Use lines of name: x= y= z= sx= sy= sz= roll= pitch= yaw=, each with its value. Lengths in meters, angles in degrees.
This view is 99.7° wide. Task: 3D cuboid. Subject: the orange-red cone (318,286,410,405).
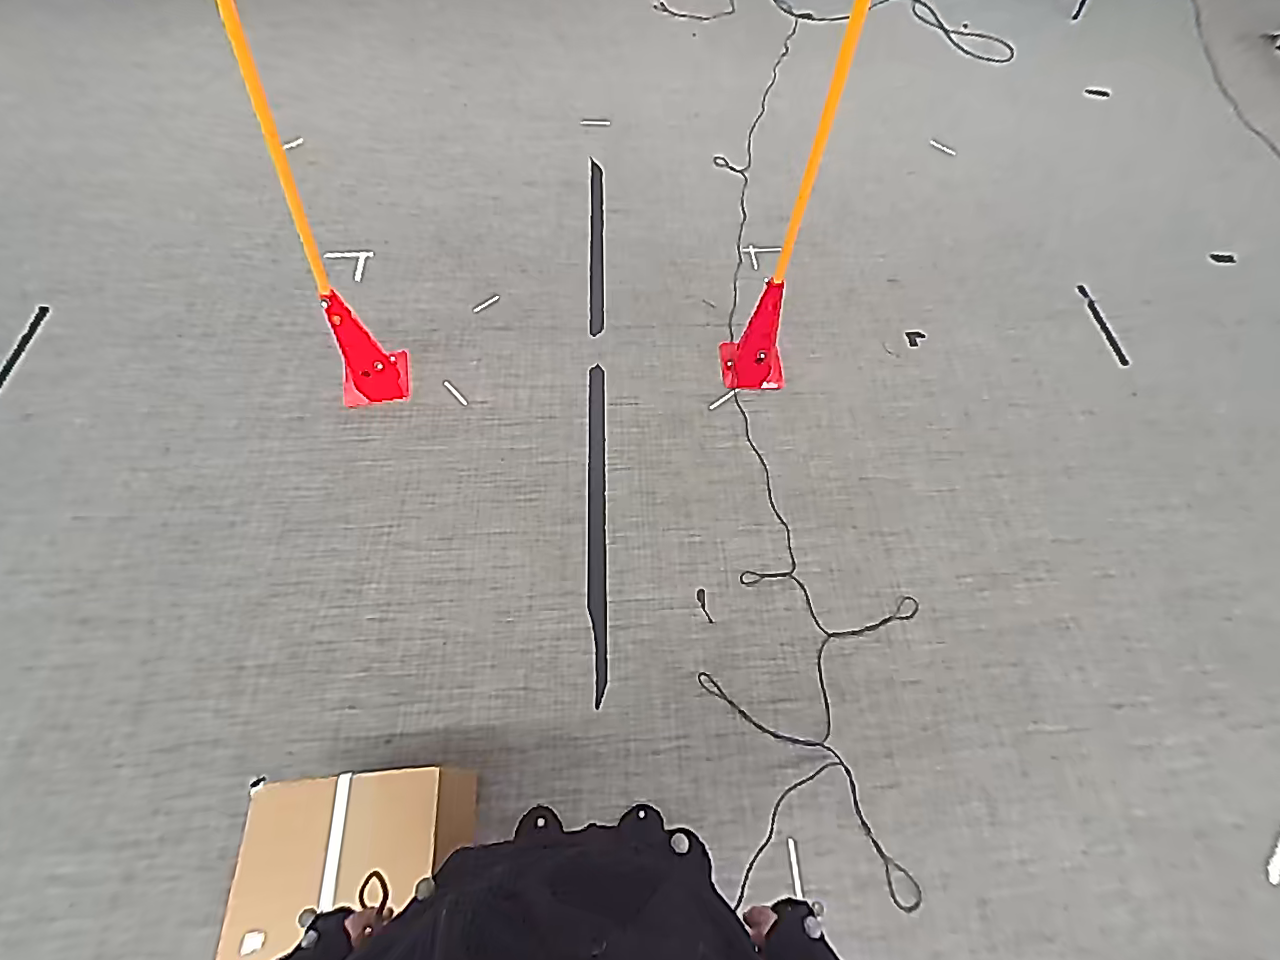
orange-red cone: x=-0.829 y=-0.407 z=1.561 sx=0.199 sy=0.360 sz=0.198 roll=-10 pitch=61 yaw=-7
